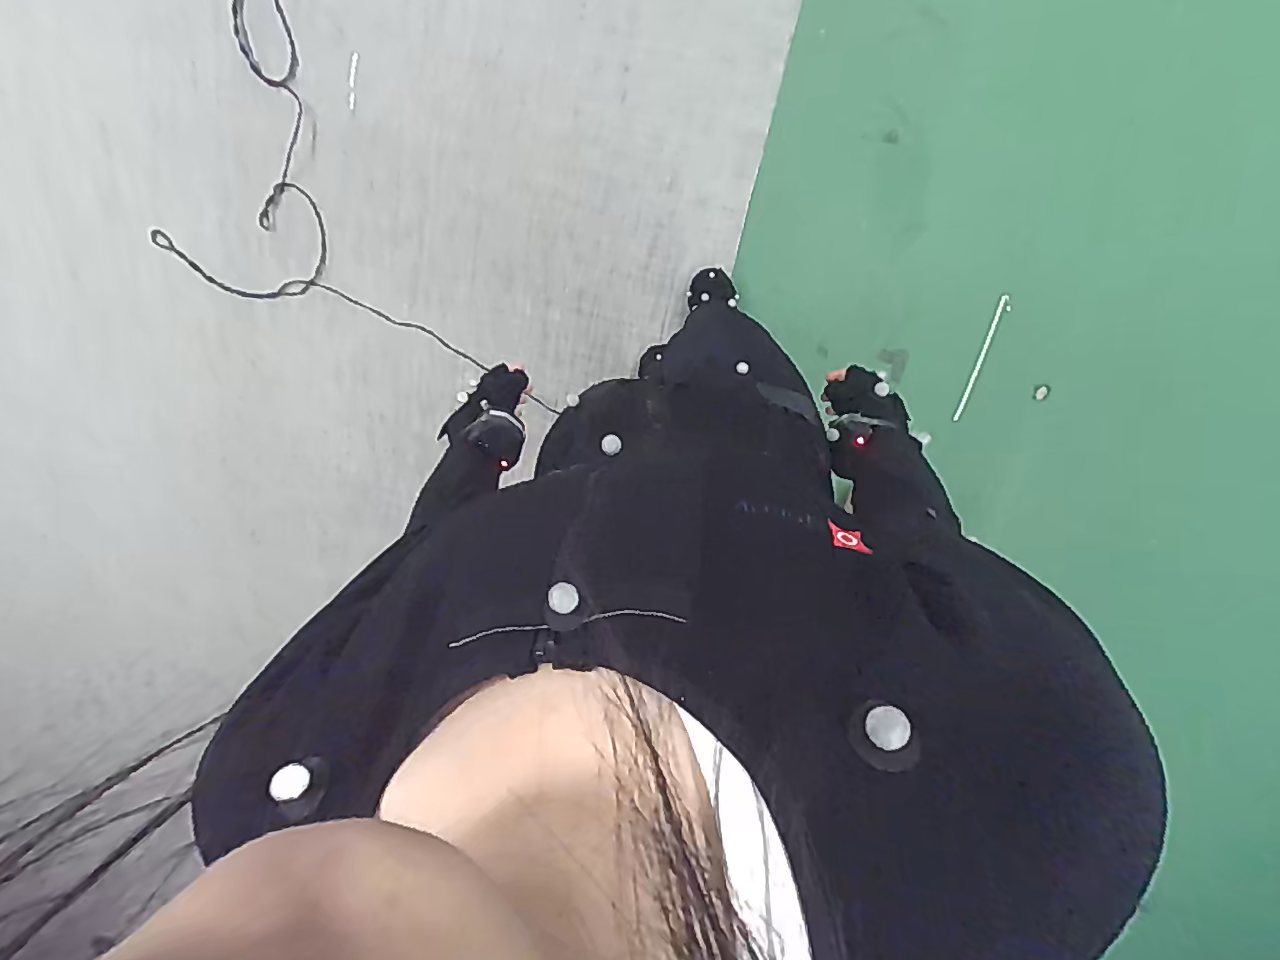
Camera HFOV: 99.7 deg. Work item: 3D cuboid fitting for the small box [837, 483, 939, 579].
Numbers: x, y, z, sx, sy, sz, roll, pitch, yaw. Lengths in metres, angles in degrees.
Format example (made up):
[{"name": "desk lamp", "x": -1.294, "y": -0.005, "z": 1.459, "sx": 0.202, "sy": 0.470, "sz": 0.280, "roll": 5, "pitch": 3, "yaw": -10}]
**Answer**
[{"name": "small box", "x": 0.632, "y": 0.128, "z": 1.407, "sx": 0.168, "sy": 0.176, "sz": 0.179, "roll": 14, "pitch": 106, "yaw": 0}]
